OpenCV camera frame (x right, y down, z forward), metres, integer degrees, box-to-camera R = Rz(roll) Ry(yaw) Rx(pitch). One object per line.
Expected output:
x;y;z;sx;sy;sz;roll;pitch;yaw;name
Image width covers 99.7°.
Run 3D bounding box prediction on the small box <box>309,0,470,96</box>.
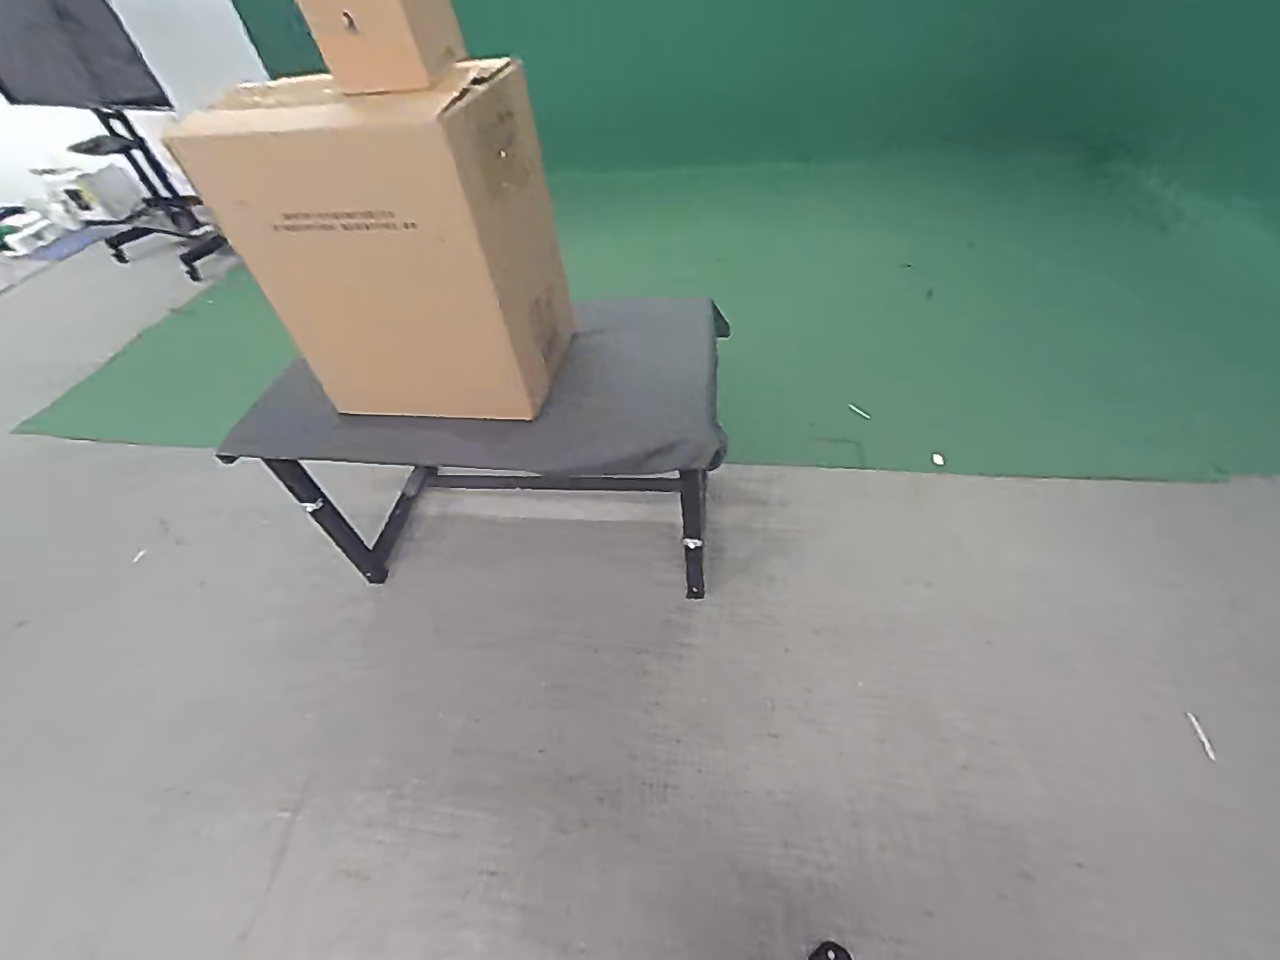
-0.416;-0.766;0.901;0.179;0.176;0.168;4;55;11;small box
